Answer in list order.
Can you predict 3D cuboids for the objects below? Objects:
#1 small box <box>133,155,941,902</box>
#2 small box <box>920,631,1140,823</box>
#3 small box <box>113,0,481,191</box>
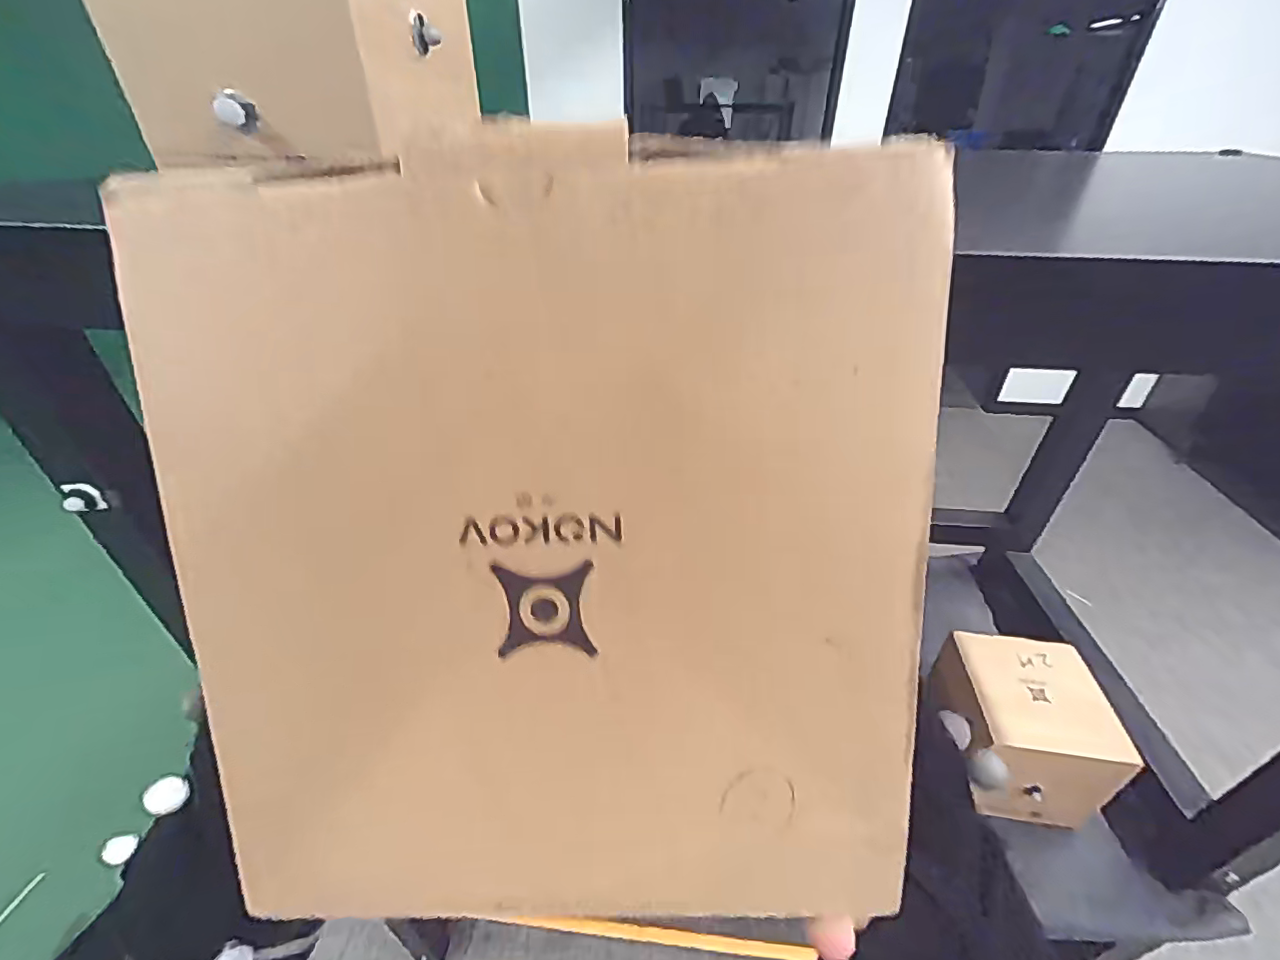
[{"bbox_3d":[-0.017,0.008,0.203,0.168,0.179,0.176,-2,11,2],"label":"small box"},{"bbox_3d":[0.517,0.340,0.750,0.168,0.176,0.179,5,35,7],"label":"small box"},{"bbox_3d":[-0.227,-0.296,0.390,0.168,0.176,0.179,4,36,6],"label":"small box"}]
